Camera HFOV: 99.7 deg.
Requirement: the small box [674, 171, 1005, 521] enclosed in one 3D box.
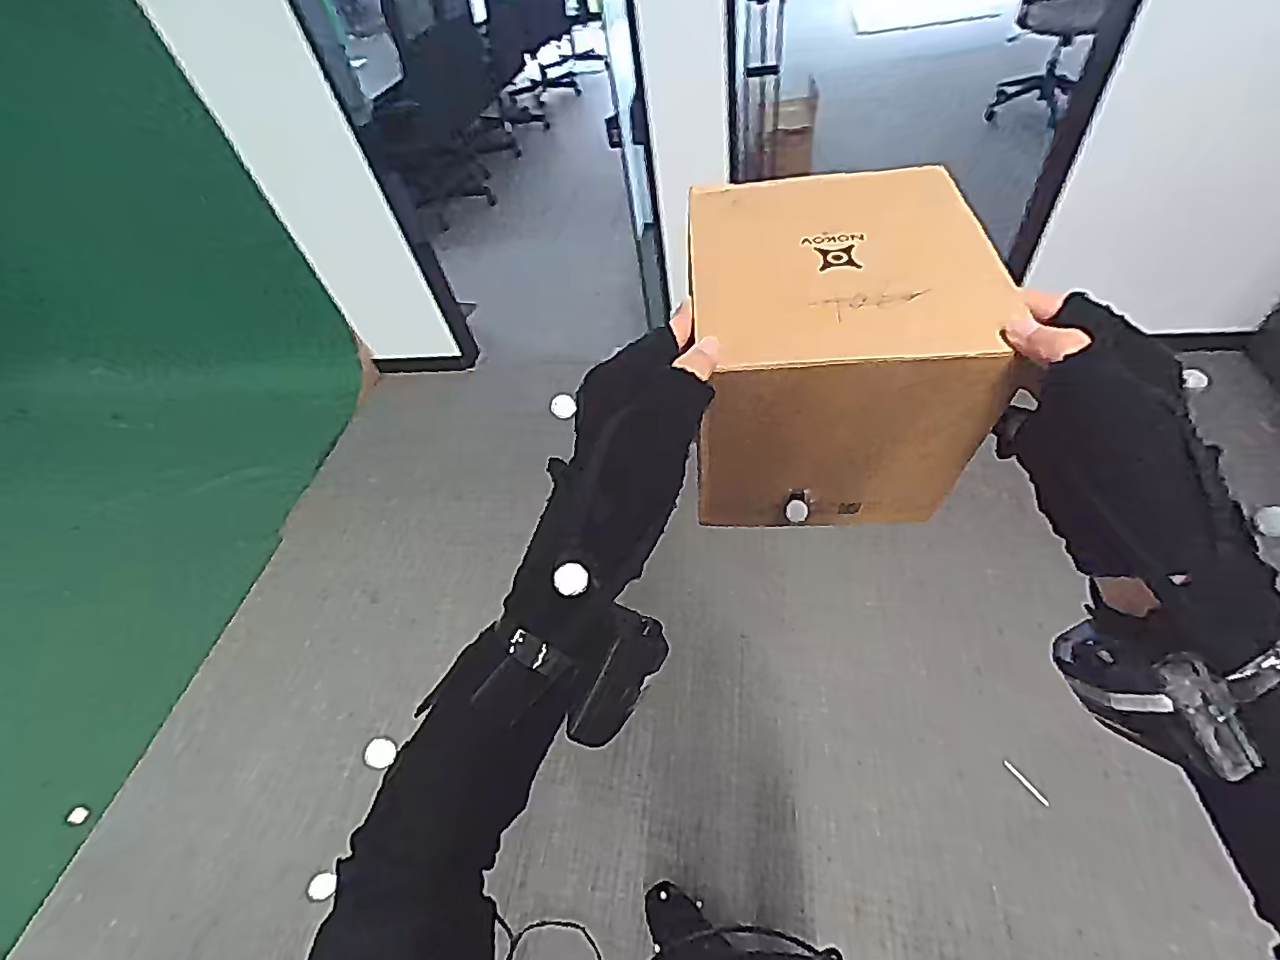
[{"bbox_3d":[0.109,-0.087,0.385,0.168,0.176,0.179,-2,56,6],"label":"small box"}]
